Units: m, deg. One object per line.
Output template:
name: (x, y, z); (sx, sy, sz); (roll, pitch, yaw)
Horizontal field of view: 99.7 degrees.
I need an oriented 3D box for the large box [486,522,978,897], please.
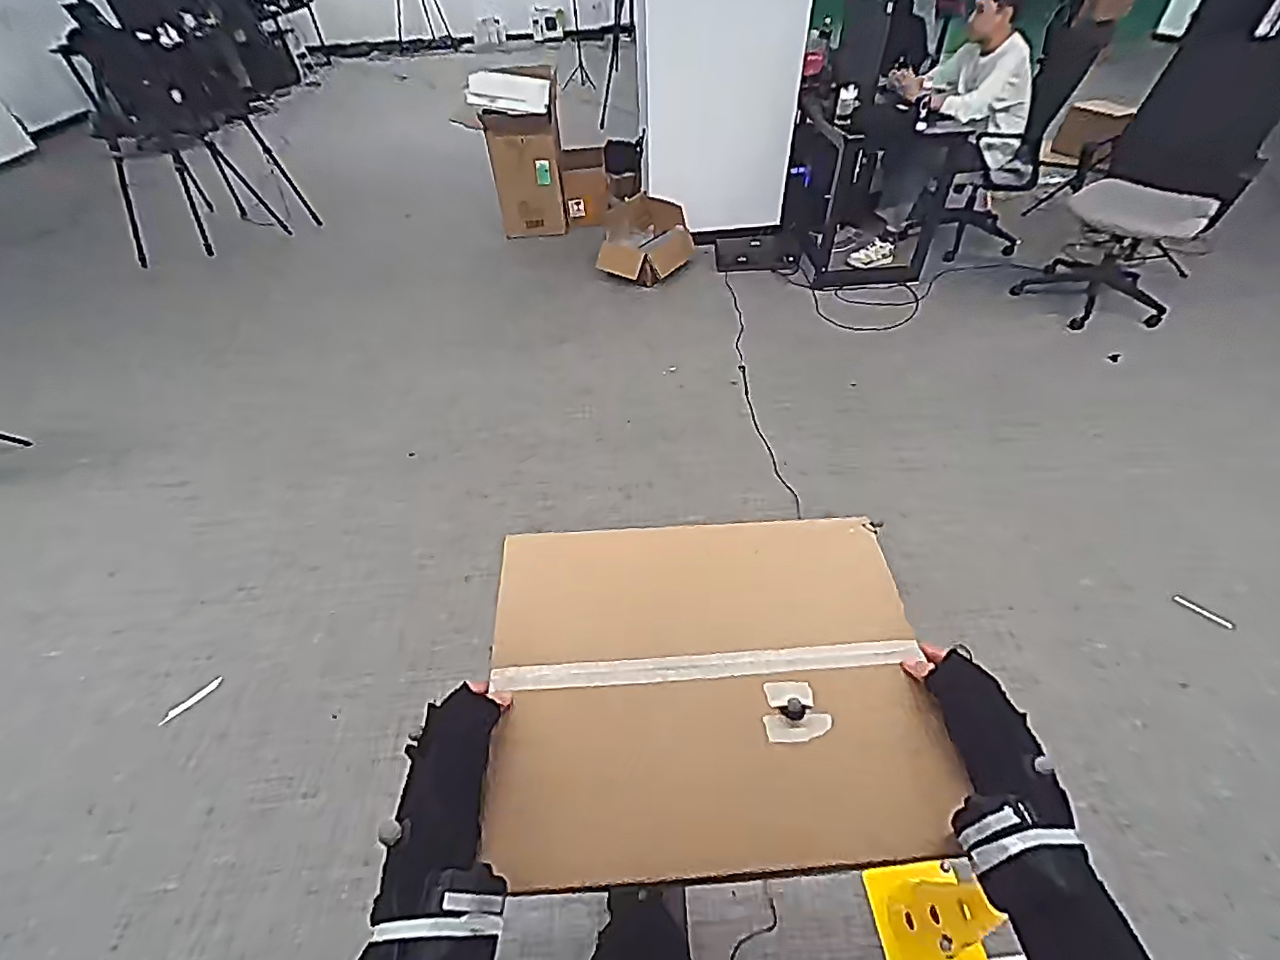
large box: (0.063, 0.271, 0.630); (0.408, 0.320, 0.320); (-3, 52, -3)
